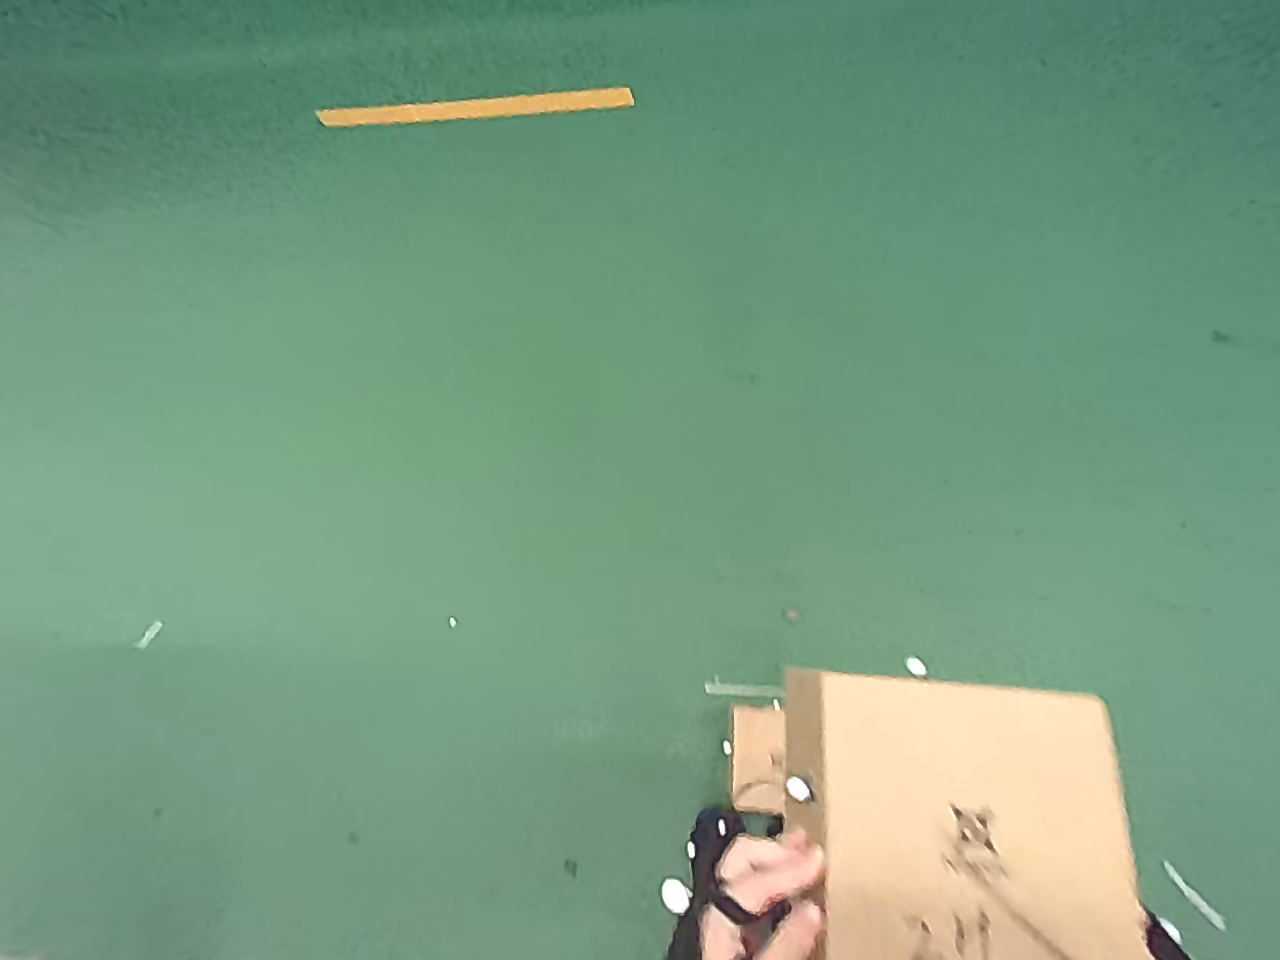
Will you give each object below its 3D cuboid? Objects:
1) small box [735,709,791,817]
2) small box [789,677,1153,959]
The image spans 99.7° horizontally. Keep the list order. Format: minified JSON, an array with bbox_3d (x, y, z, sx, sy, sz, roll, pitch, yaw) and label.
[{"bbox_3d":[0.282,0.572,1.105,0.168,0.176,0.179,1,68,9],"label":"small box"},{"bbox_3d":[0.199,0.239,0.378,0.168,0.176,0.179,3,73,9],"label":"small box"}]
